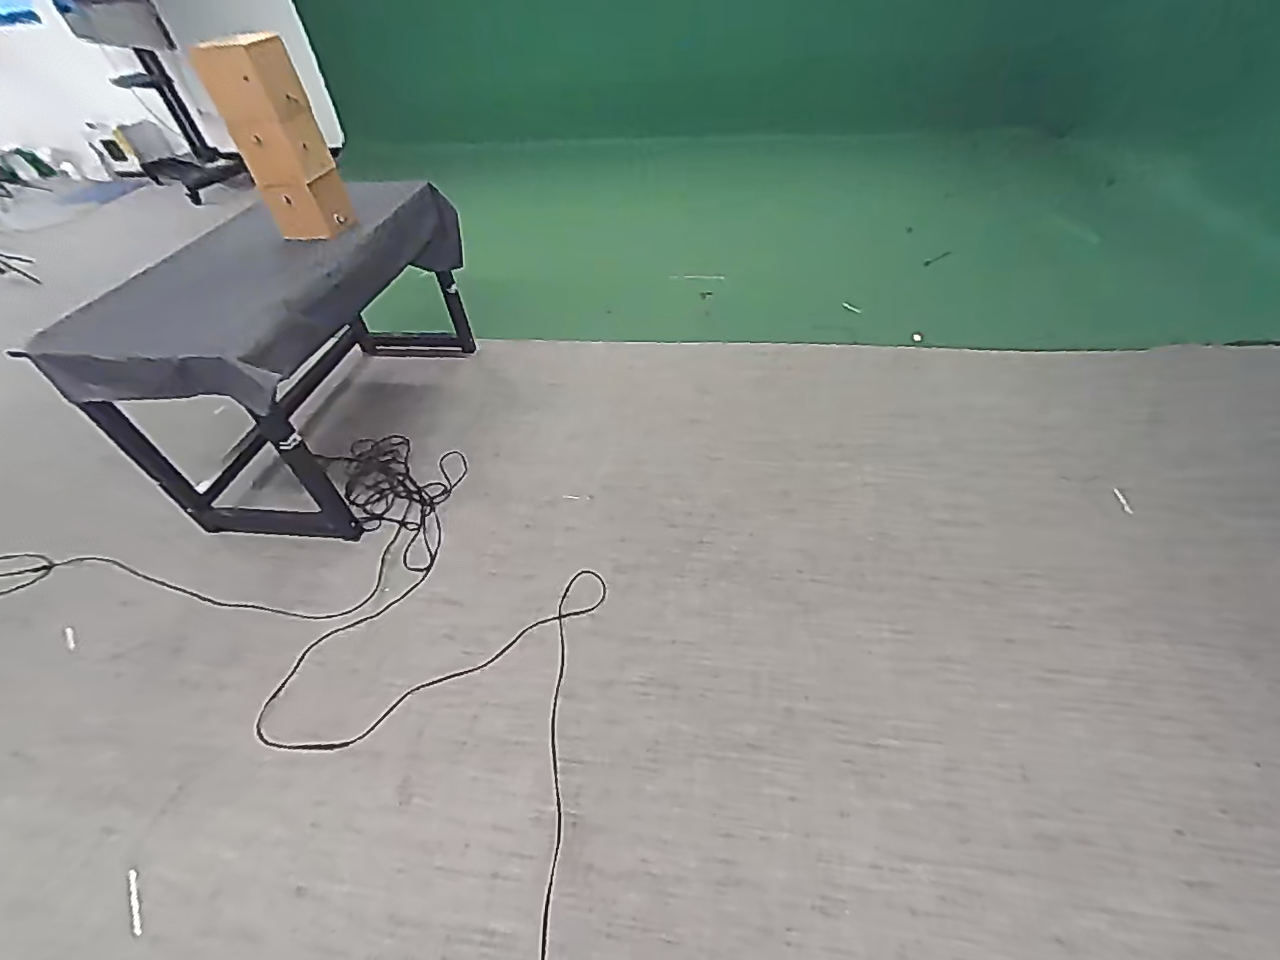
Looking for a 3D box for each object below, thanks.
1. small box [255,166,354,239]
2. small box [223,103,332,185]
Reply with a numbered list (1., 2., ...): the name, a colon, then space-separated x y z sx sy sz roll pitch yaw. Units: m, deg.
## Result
1. small box: -1.063 -0.888 1.730 0.179 0.176 0.168 4 48 8
2. small box: -1.065 -0.996 1.609 0.179 0.176 0.168 2 47 8
